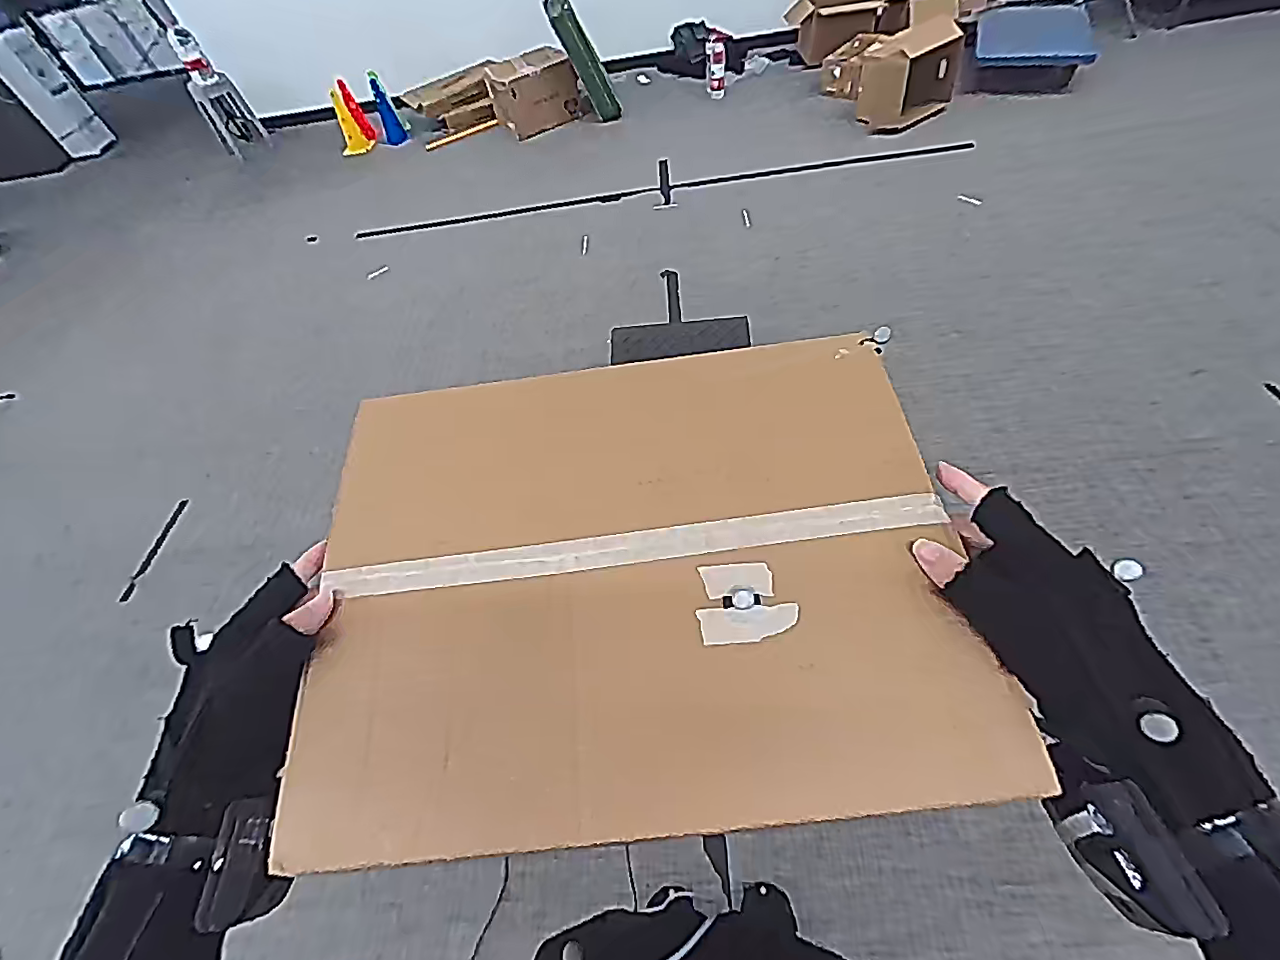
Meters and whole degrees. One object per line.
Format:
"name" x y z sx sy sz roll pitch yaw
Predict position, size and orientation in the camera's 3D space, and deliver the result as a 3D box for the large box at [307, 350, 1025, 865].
"large box" 0.007 0.125 0.494 0.408 0.320 0.320 -7 61 1
